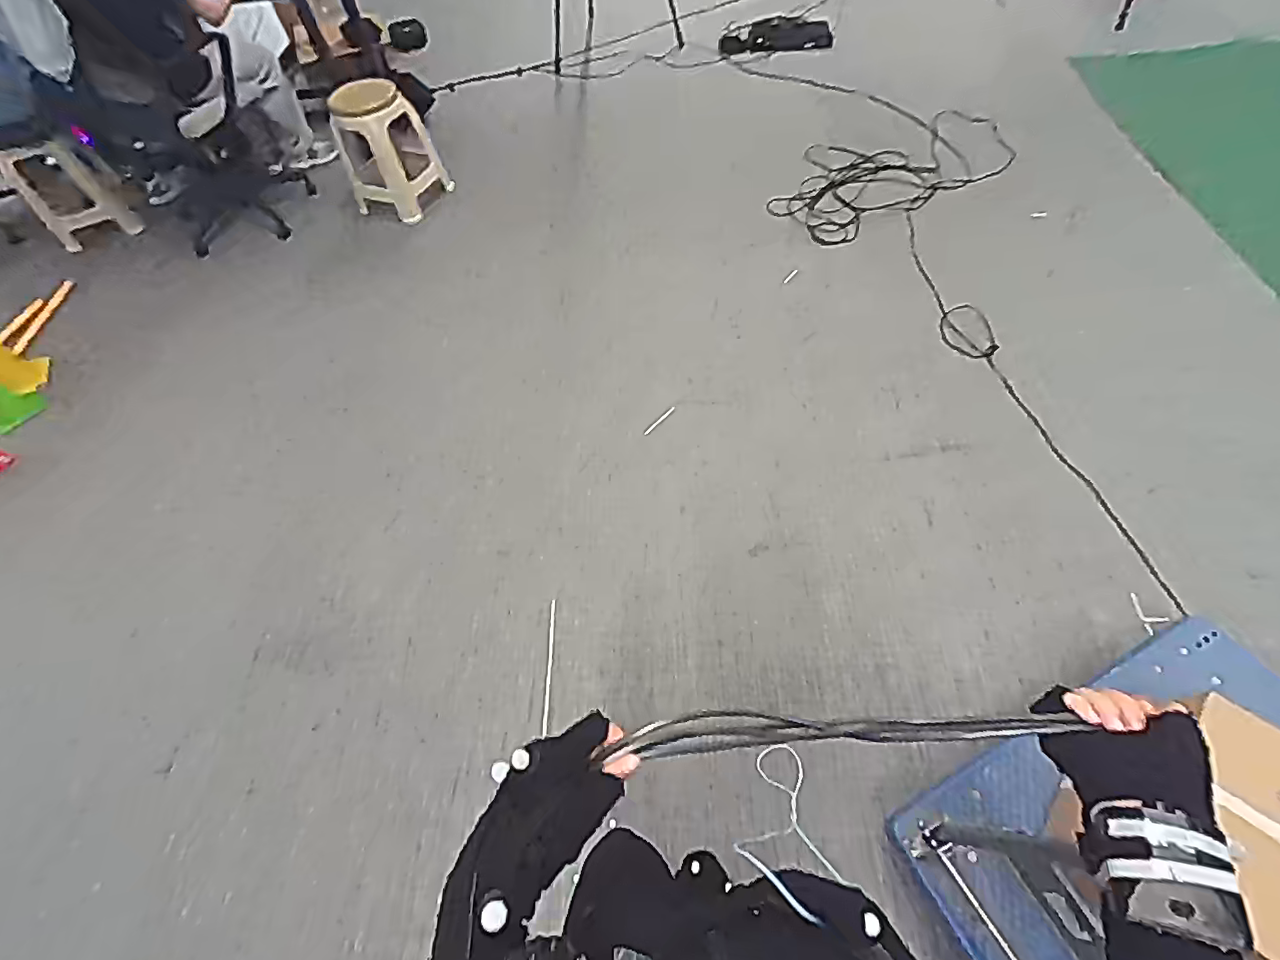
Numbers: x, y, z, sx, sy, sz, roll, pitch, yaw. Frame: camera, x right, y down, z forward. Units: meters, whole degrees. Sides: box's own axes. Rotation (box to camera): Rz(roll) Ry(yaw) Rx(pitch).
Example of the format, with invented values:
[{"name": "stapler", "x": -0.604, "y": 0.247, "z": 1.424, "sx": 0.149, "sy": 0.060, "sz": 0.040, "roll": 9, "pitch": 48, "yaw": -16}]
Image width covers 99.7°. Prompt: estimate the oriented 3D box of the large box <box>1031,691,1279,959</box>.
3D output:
[{"name": "large box", "x": 0.959, "y": 0.616, "z": 0.859, "sx": 0.408, "sy": 0.320, "sz": 0.320, "roll": 34, "pitch": 67, "yaw": 24}]
